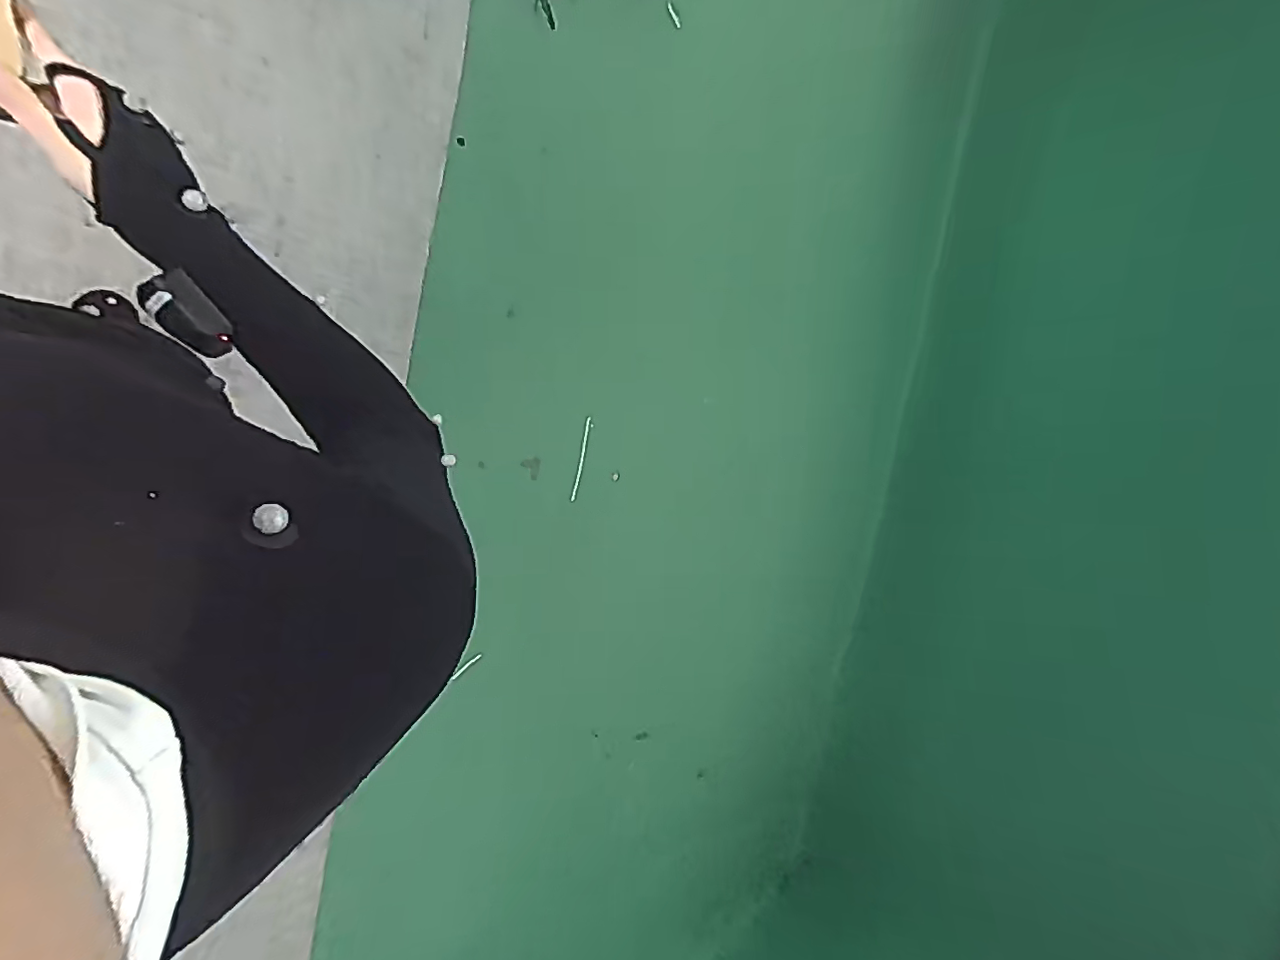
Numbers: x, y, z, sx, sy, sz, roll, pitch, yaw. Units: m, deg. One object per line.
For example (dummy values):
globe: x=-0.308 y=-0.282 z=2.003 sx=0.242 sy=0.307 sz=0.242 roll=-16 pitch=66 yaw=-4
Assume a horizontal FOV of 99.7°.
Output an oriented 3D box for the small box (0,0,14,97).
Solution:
small box: x=-0.555 y=-0.382 z=0.354 sx=0.179 sy=0.176 sz=0.168 roll=-10 pitch=112 yaw=-48
